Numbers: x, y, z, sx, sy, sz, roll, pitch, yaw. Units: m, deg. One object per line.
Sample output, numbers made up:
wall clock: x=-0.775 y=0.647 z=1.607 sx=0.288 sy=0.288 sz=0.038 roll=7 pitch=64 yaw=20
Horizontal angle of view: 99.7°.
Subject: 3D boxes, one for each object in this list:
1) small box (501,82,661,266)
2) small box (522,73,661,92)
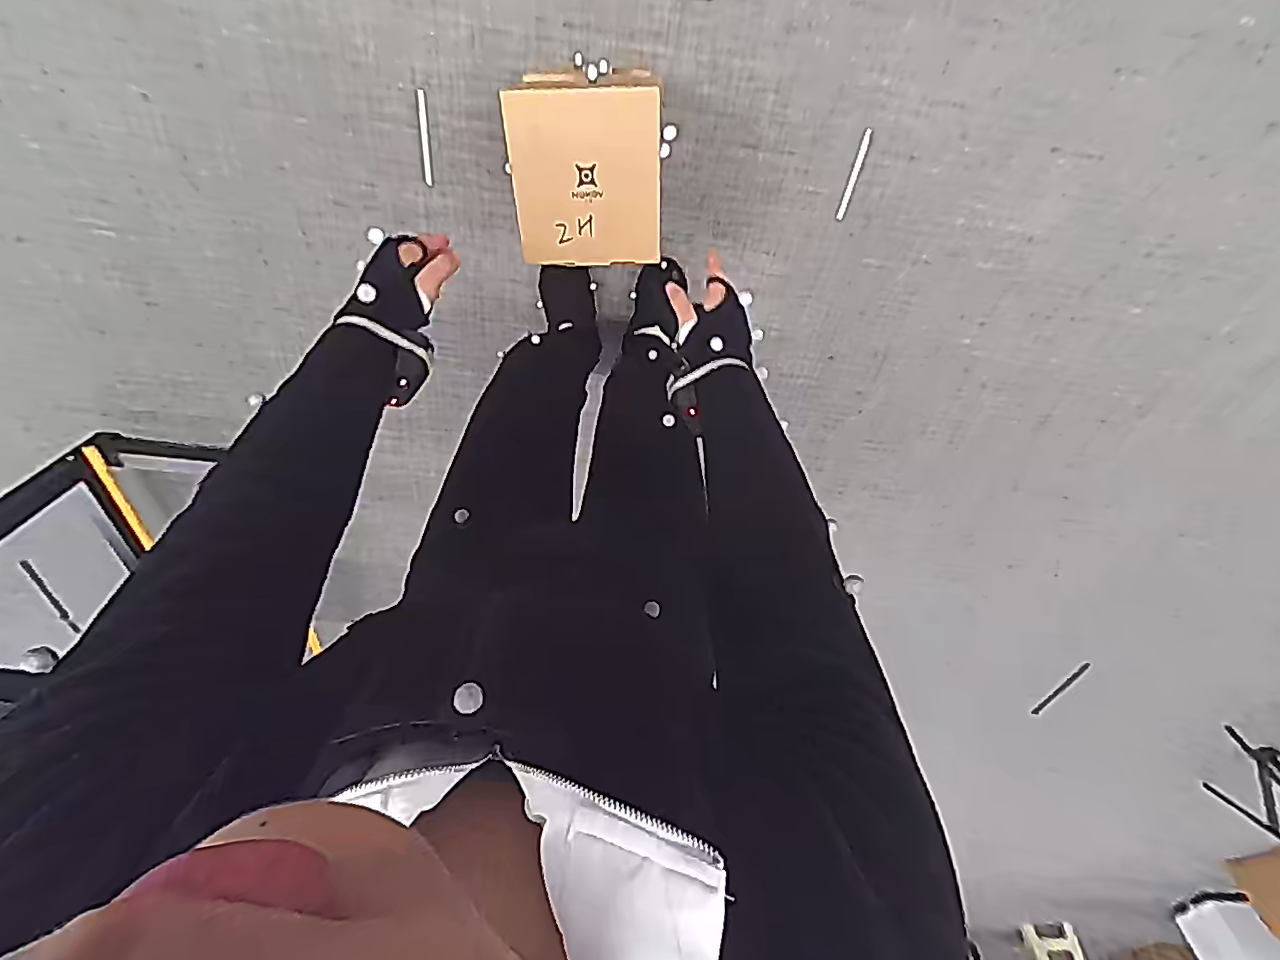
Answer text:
small box: x=-0.059 y=-0.375 z=0.658 sx=0.168 sy=0.176 sz=0.179 roll=1 pitch=129 yaw=2
small box: x=-0.063 y=-0.482 z=0.784 sx=0.179 sy=0.176 sz=0.168 roll=3 pitch=129 yaw=-1
